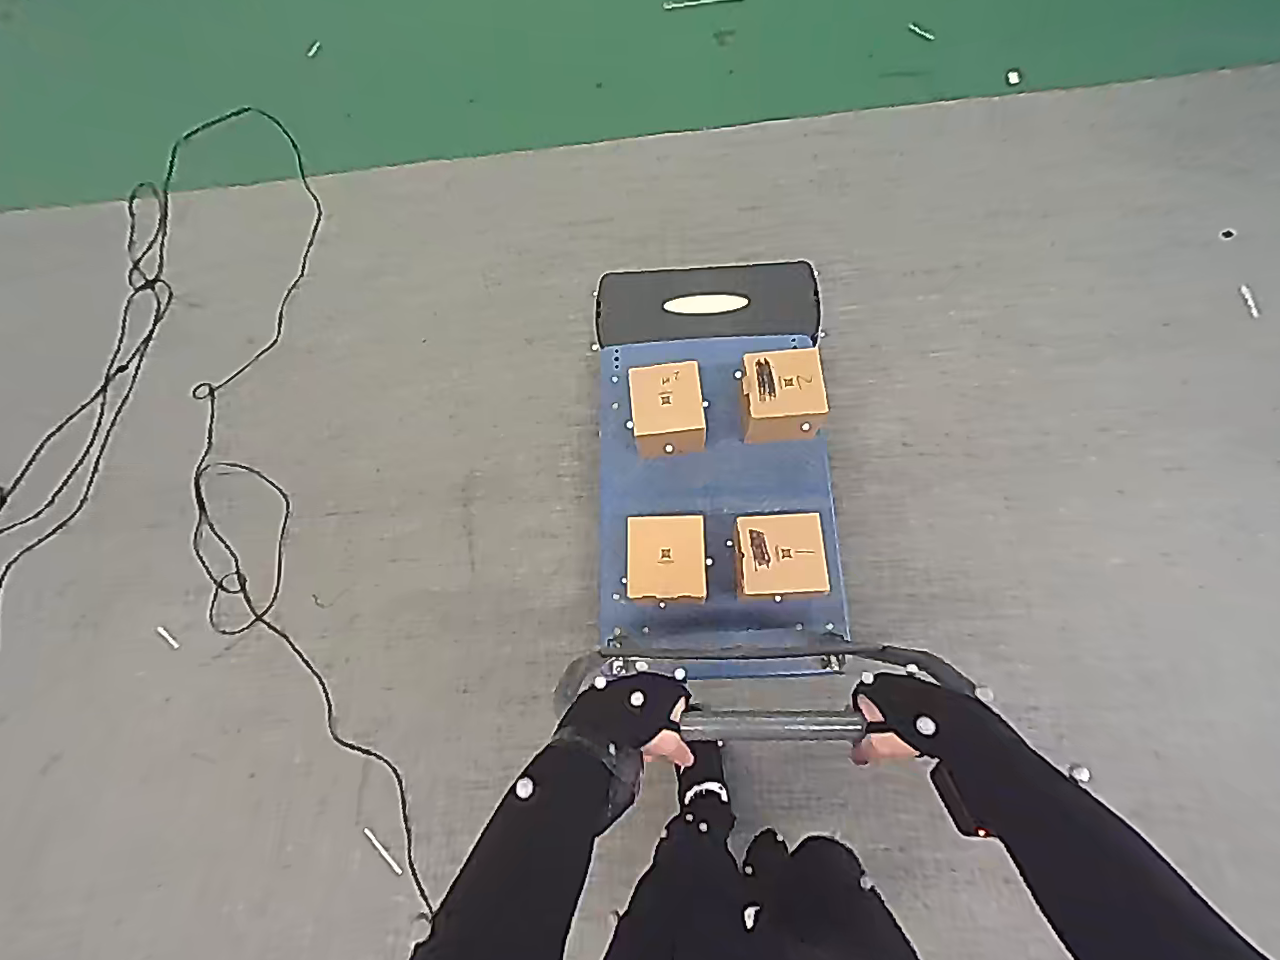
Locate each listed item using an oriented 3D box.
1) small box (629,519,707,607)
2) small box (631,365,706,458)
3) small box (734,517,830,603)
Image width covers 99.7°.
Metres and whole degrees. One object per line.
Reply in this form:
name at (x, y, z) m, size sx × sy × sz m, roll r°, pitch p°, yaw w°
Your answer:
small box at (0.063, 0.191, 1.221) m, size 0.168 × 0.176 × 0.179 m, roll -1°, pitch 73°, yaw 4°
small box at (0.071, -0.159, 1.328) m, size 0.168 × 0.176 × 0.179 m, roll -5°, pitch 73°, yaw 3°
small box at (0.304, 0.183, 1.201) m, size 0.179 × 0.176 × 0.168 m, roll -3°, pitch 73°, yaw 3°
